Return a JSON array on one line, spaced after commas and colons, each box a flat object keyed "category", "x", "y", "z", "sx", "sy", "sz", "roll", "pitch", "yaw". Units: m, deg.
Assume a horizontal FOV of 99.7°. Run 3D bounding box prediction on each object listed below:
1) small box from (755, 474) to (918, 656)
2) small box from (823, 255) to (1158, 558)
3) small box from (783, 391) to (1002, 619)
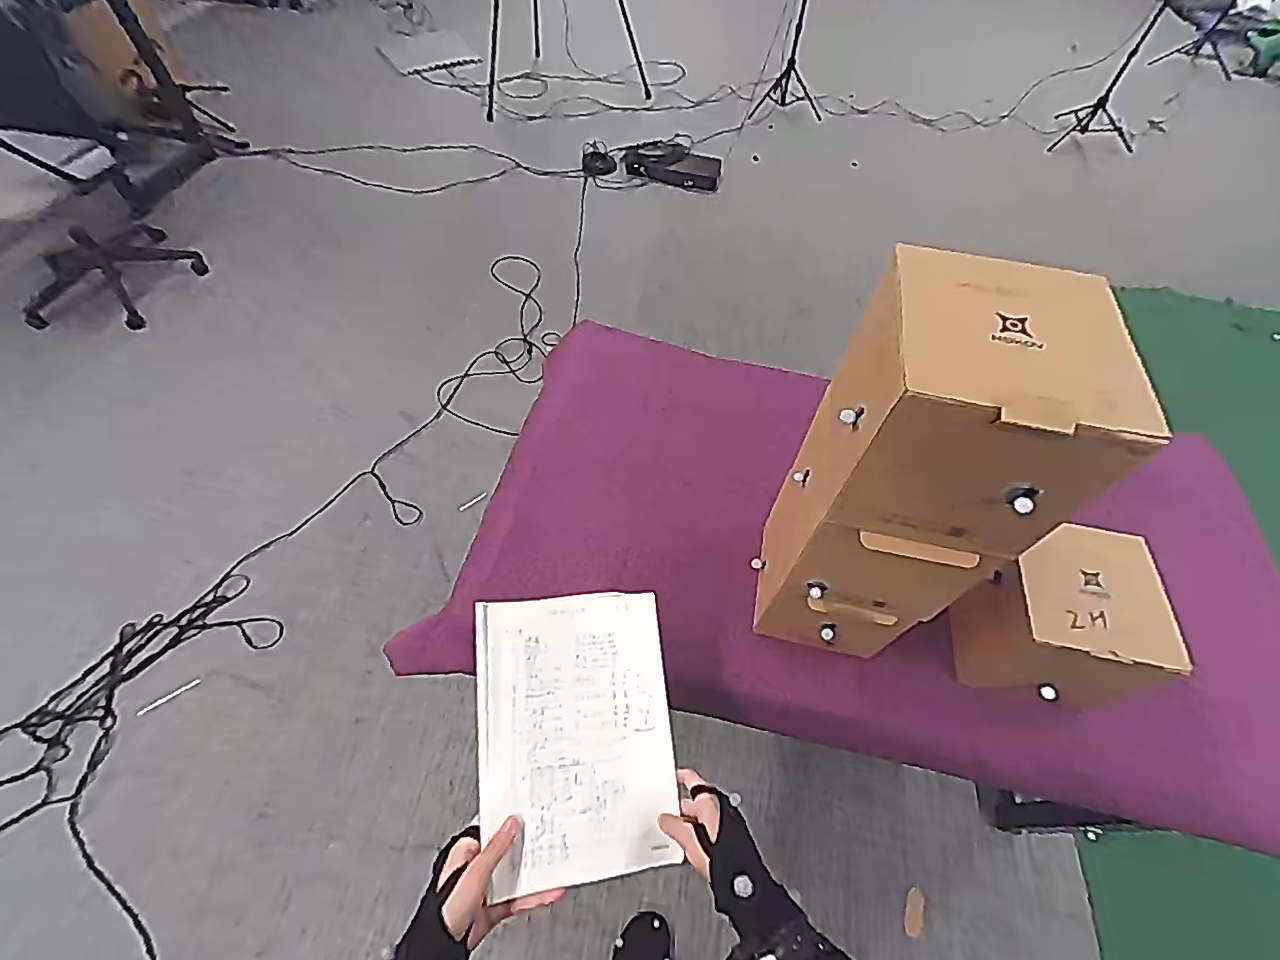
[{"category": "small box", "x": 0.258, "y": 0.121, "z": 0.736, "sx": 0.168, "sy": 0.176, "sz": 0.179, "roll": 12, "pitch": 56, "yaw": 6}, {"category": "small box", "x": 0.265, "y": -0.056, "z": 0.460, "sx": 0.168, "sy": 0.176, "sz": 0.179, "roll": 13, "pitch": 55, "yaw": 6}, {"category": "small box", "x": 0.261, "y": 0.033, "z": 0.597, "sx": 0.168, "sy": 0.176, "sz": 0.179, "roll": 12, "pitch": 55, "yaw": 6}]
